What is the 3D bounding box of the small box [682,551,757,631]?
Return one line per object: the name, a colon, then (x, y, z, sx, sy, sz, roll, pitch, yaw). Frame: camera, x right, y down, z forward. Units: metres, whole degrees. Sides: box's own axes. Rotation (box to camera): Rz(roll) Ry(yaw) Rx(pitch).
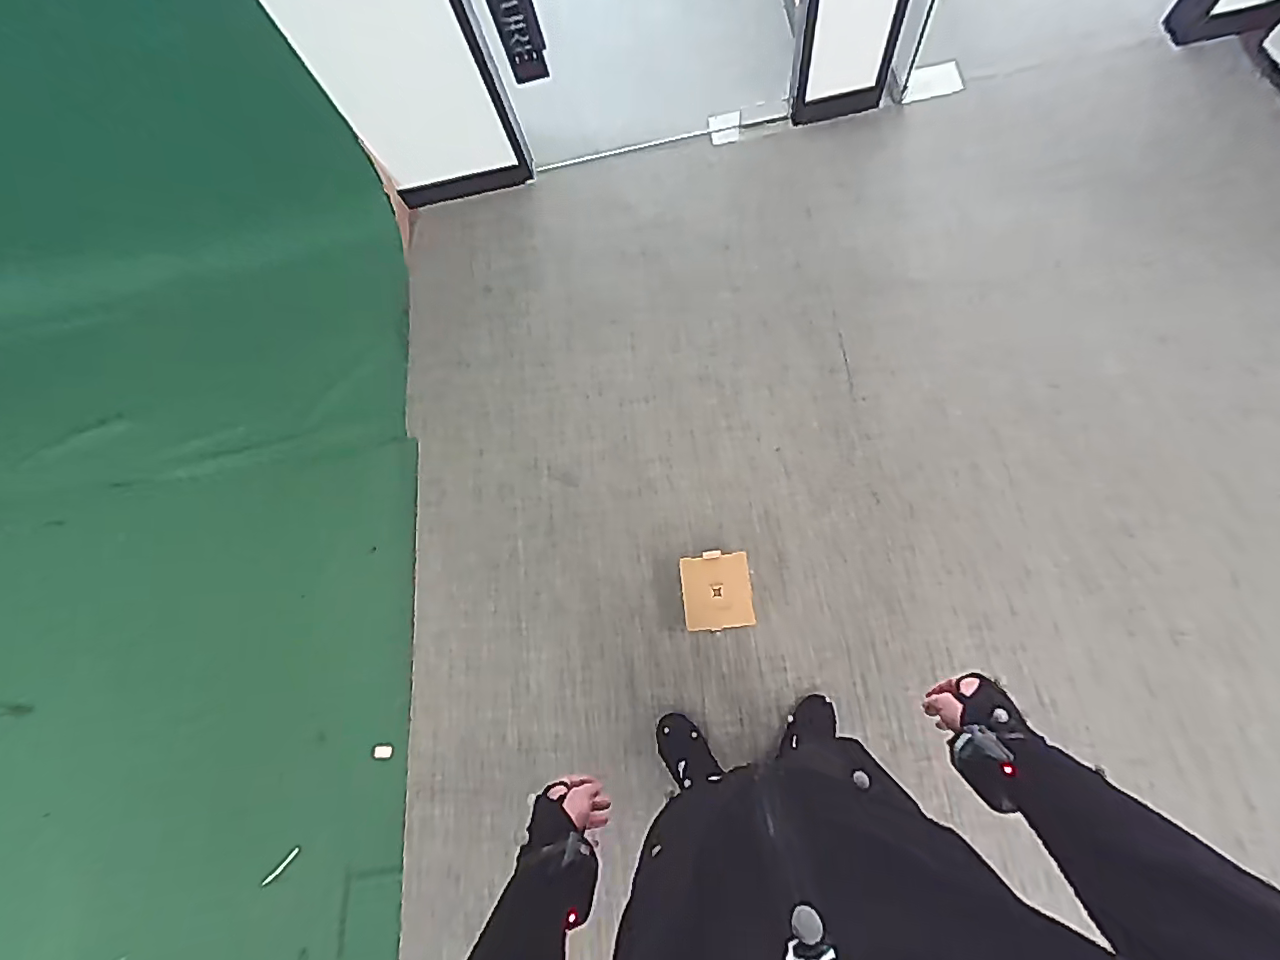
small box: (0.197, 0.281, 1.351, 0.168, 0.176, 0.179, -6, 73, 10)
